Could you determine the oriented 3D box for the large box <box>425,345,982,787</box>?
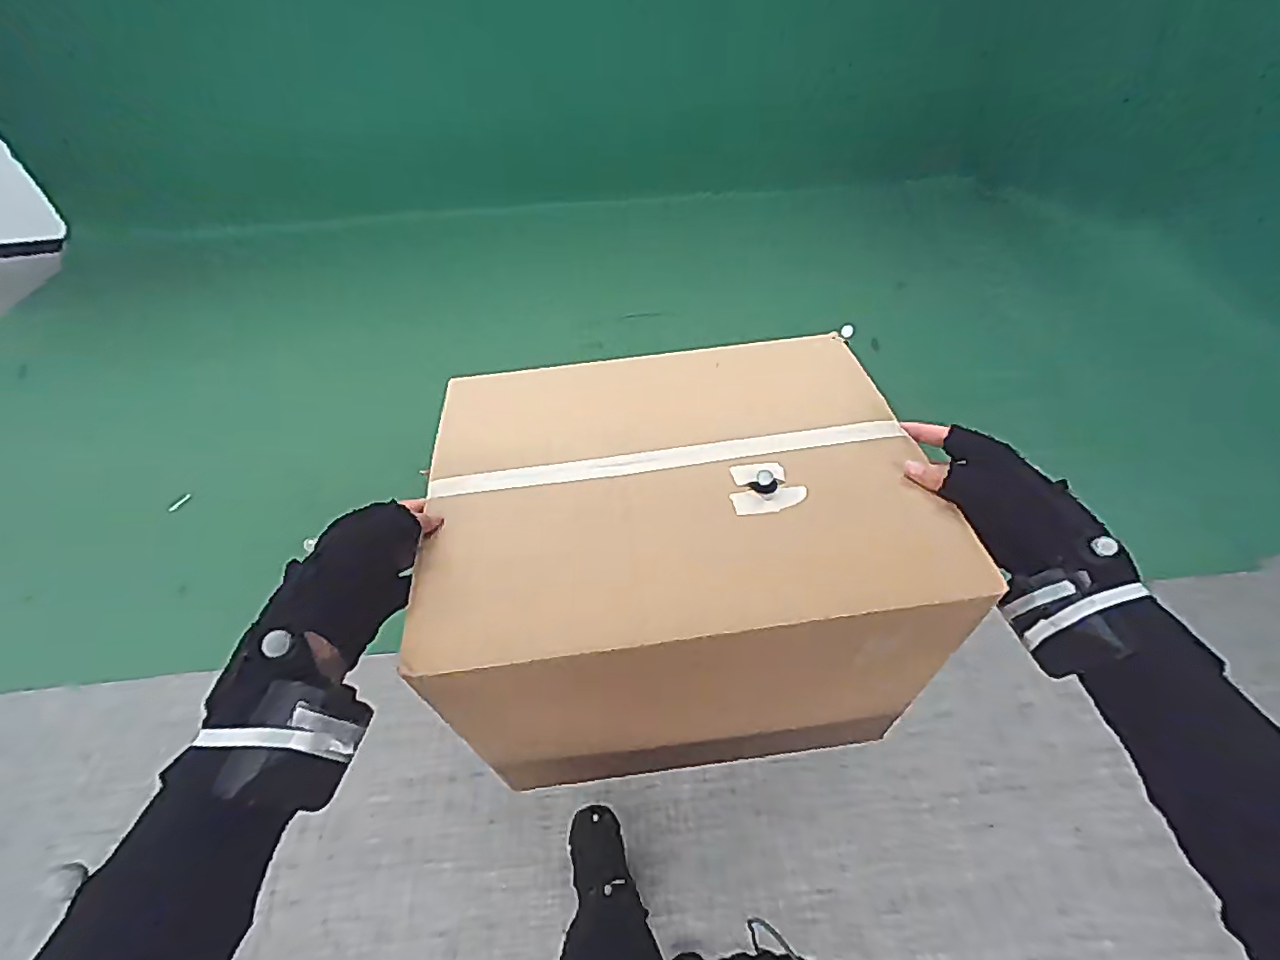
[{"bbox_3d":[0.037,0.093,0.580,0.408,0.320,0.320,-8,48,-2],"label":"large box"}]
